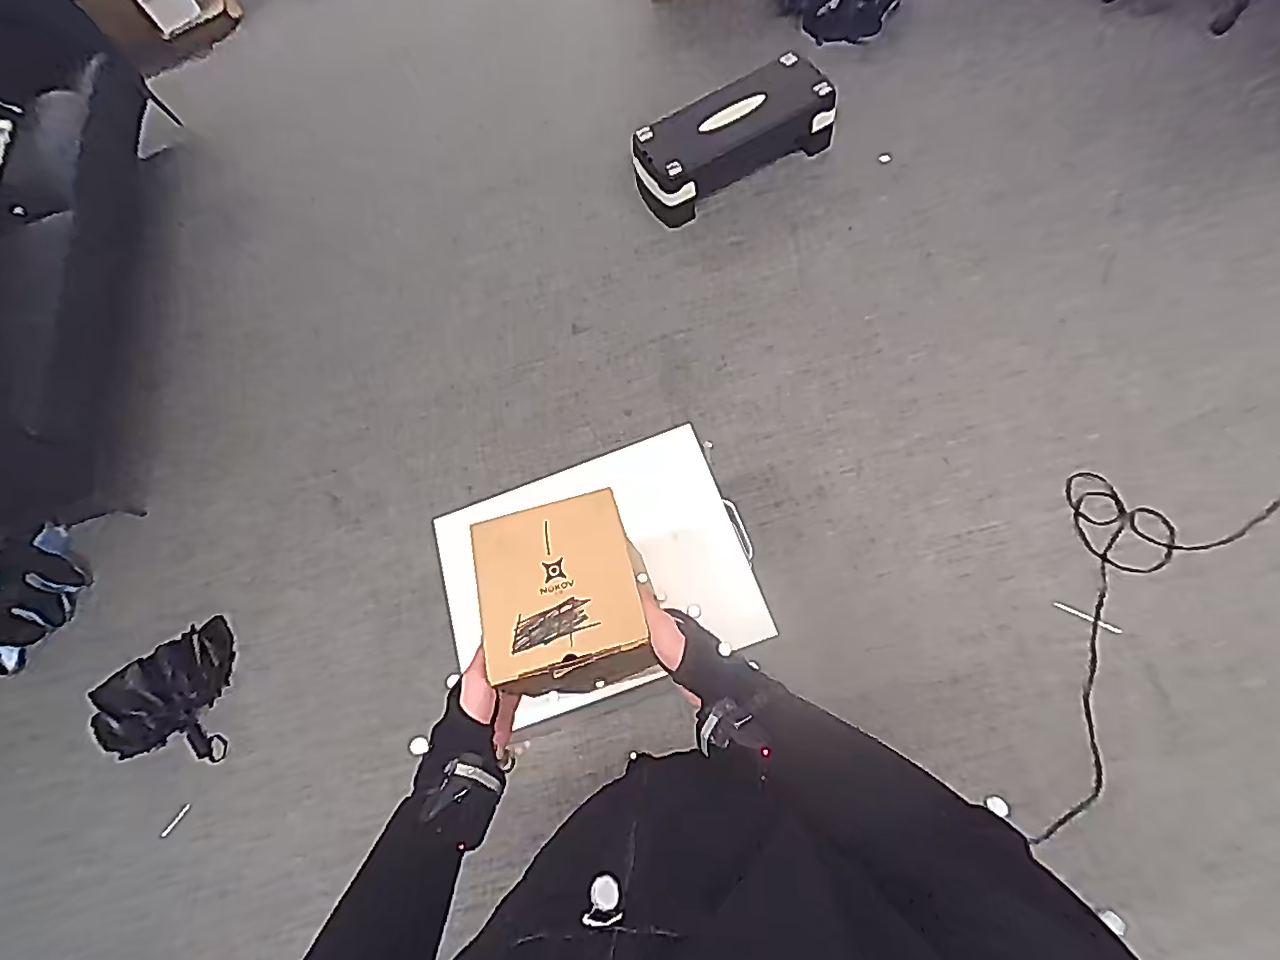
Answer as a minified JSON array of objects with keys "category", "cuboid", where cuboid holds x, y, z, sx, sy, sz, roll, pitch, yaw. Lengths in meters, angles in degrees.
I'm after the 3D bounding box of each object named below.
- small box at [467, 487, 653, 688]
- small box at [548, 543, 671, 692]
[{"category":"small box","cuboid":[-0.085,0.136,0.635,0.168,0.176,0.179,-15,64,-3]},{"category":"small box","cuboid":[-0.064,0.200,0.806,0.168,0.176,0.179,-23,66,0]}]
